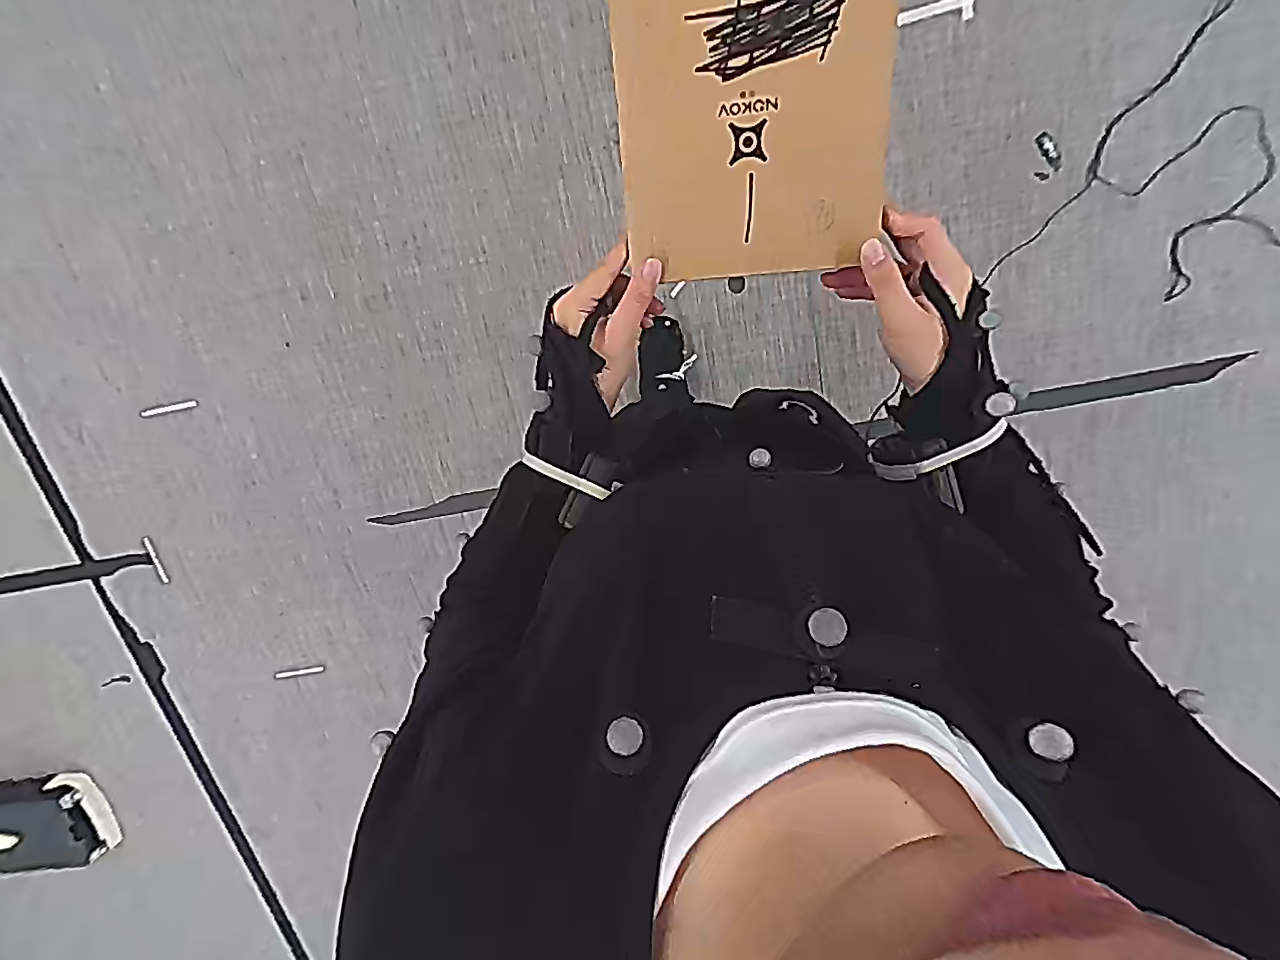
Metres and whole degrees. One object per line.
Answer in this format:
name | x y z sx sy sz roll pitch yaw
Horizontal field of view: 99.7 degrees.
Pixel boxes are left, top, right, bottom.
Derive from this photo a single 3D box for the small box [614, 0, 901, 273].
small box | 0.077 -0.254 0.405 0.168 0.176 0.179 -1 113 8
